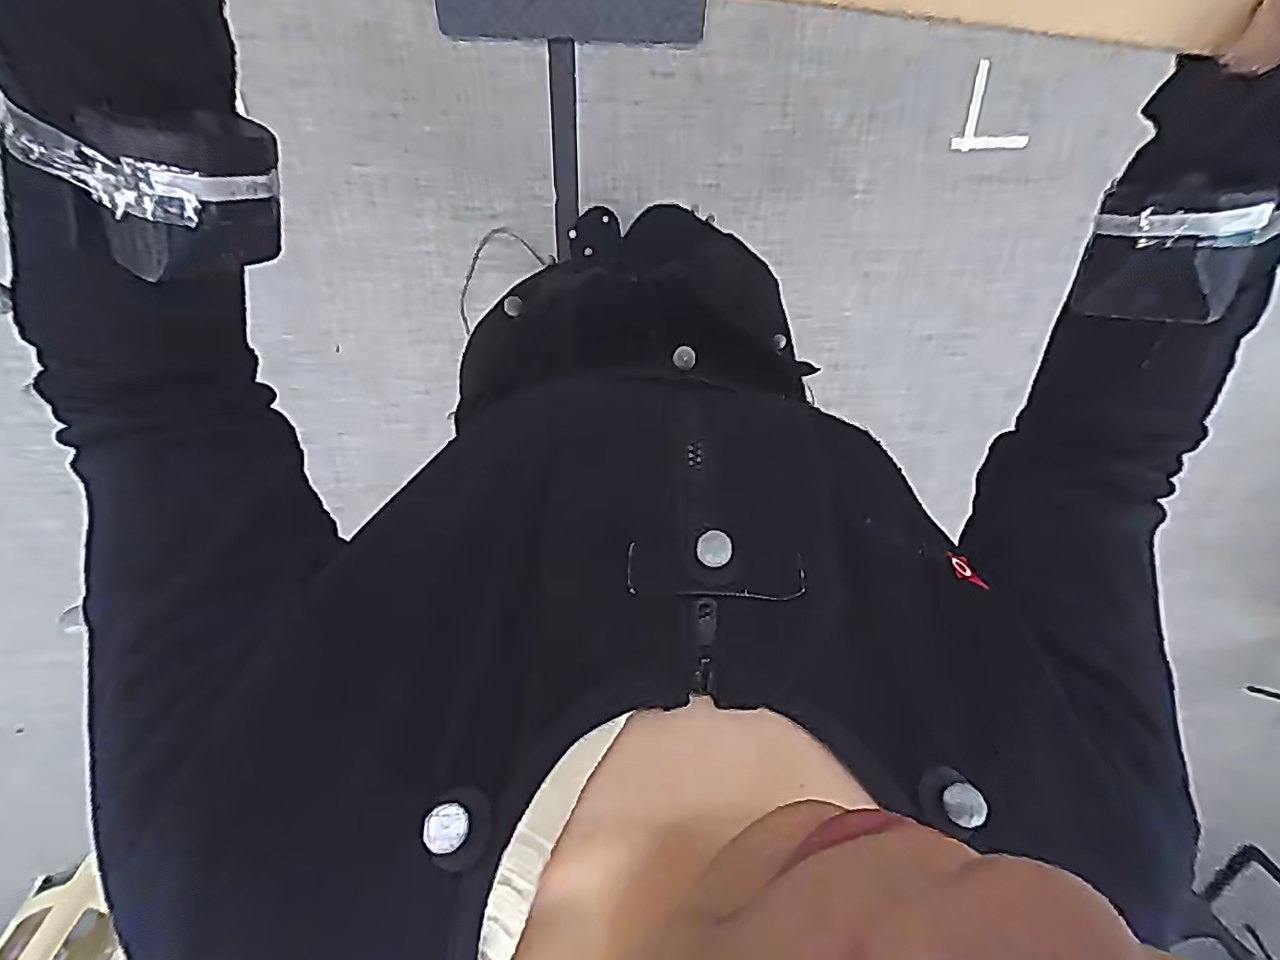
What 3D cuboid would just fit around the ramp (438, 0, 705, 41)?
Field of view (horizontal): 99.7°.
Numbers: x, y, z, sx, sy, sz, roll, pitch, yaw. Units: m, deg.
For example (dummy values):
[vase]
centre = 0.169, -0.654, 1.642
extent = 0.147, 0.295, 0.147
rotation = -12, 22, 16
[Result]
[ramp]
centre = -0.107, -1.226, 0.710
extent = 0.509, 0.206, 0.991
rotation = -4, 119, -5
